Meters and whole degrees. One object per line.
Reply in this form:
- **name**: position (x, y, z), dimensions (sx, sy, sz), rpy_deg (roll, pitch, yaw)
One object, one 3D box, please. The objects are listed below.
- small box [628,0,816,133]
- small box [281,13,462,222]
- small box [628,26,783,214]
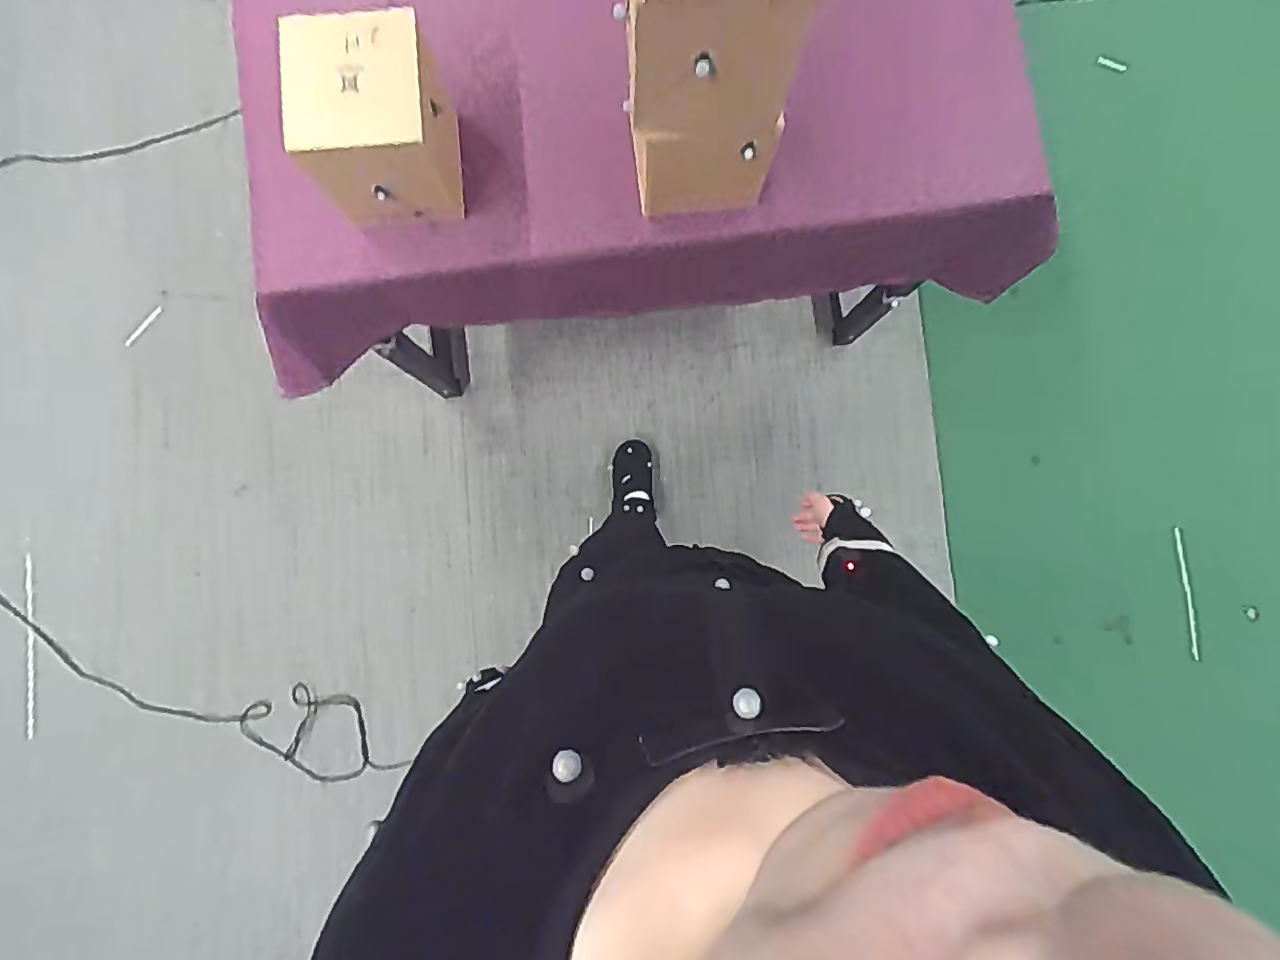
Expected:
- **small box**: position (0.075, -0.502, 0.574), dimensions (0.179, 0.176, 0.168), rpy_deg (-3, 85, -1)
- **small box**: position (-0.348, -0.469, 0.729), dimensions (0.168, 0.176, 0.179), rpy_deg (-5, 85, -2)
- **small box**: position (0.079, -0.488, 0.738), dimensions (0.179, 0.176, 0.168), rpy_deg (-6, 85, -2)
